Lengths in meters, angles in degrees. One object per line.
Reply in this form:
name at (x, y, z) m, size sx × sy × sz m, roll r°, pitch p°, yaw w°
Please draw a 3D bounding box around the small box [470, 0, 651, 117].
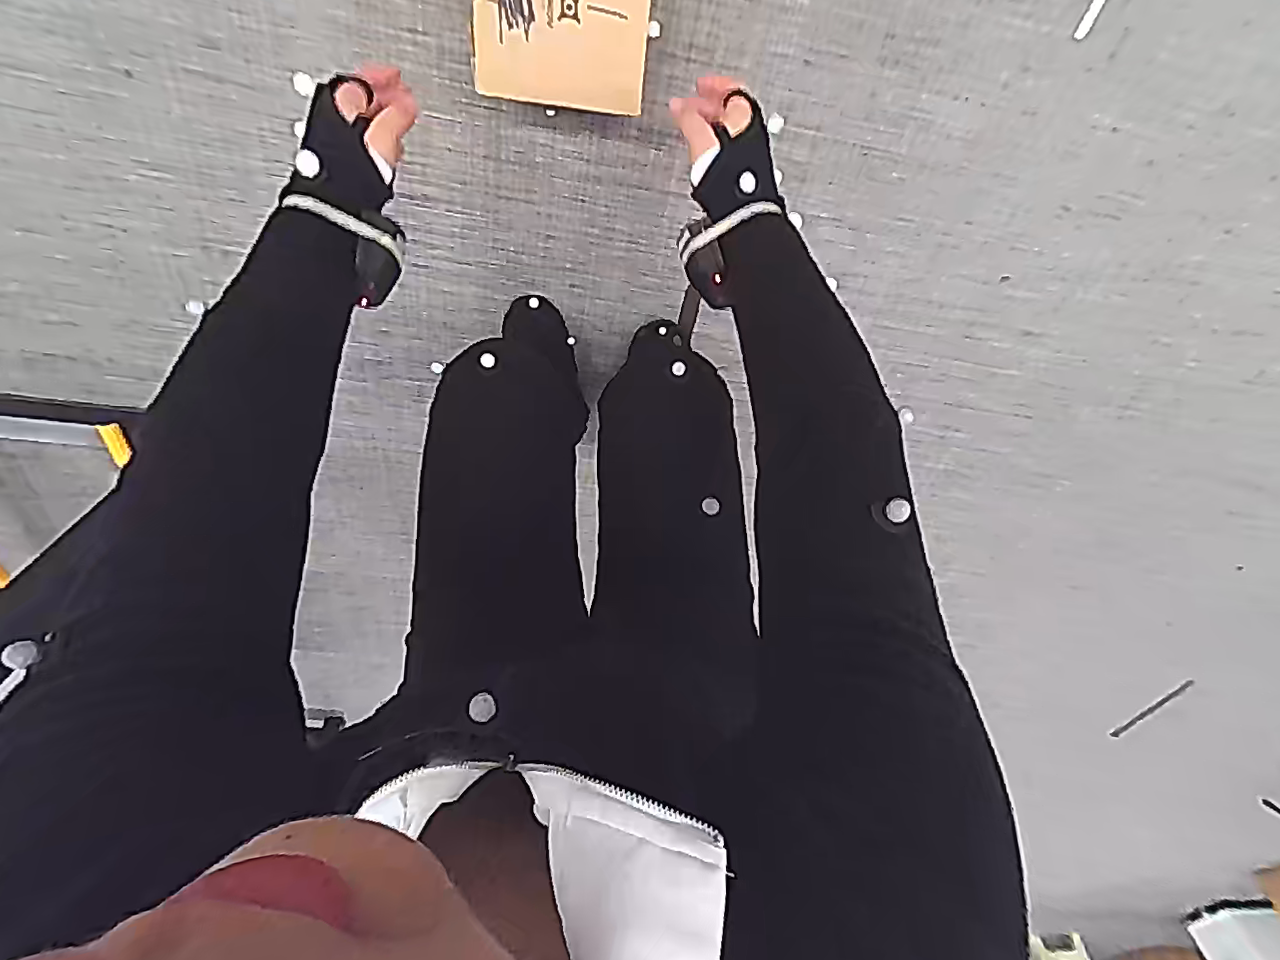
small box at (-0.080, -0.512, 0.589) m, size 0.179 × 0.176 × 0.168 m, roll 4°, pitch 129°, yaw -6°
